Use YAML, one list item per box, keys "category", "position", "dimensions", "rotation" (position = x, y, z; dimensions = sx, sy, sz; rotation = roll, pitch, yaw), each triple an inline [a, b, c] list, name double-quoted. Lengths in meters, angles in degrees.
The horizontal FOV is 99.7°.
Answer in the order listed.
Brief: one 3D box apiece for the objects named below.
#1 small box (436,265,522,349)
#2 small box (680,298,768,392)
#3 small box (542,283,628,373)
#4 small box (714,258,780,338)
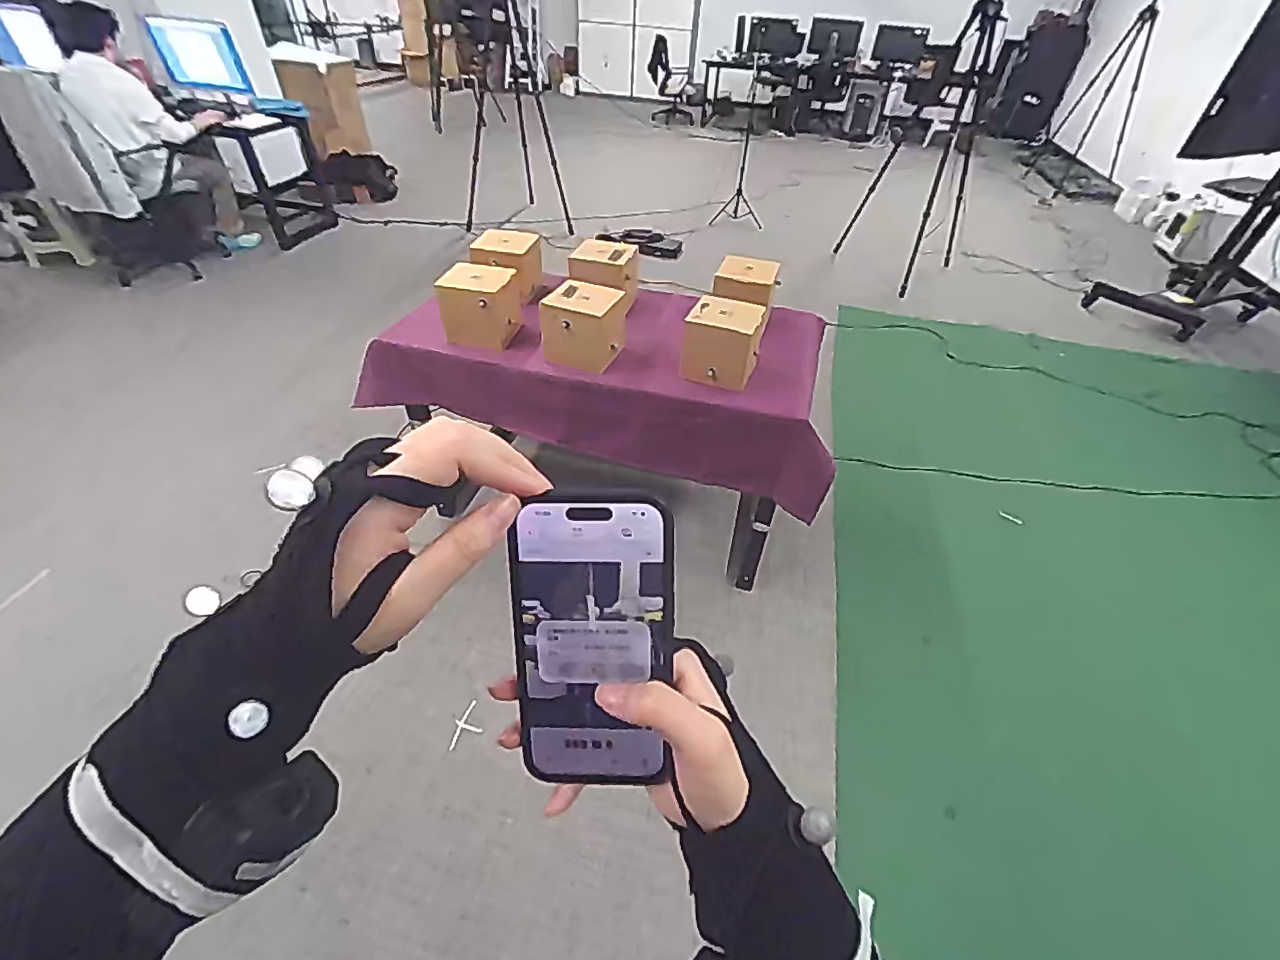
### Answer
- category: "small box"
  position: [-0.444, -0.486, 1.525]
  dimensions: [0.179, 0.176, 0.168]
  rotation: [9, 42, 4]
- category: "small box"
  position: [0.218, -0.352, 1.426]
  dimensions: [0.179, 0.176, 0.168]
  rotation: [18, 44, 14]
- category: "small box"
  position: [-0.146, -0.410, 1.463]
  dimensions: [0.179, 0.176, 0.168]
  rotation: [17, 44, 13]
- category: "small box"
  position: [0.318, -0.551, 1.648]
  dimensions: [0.168, 0.176, 0.179]
  rotation: [15, 44, 12]
